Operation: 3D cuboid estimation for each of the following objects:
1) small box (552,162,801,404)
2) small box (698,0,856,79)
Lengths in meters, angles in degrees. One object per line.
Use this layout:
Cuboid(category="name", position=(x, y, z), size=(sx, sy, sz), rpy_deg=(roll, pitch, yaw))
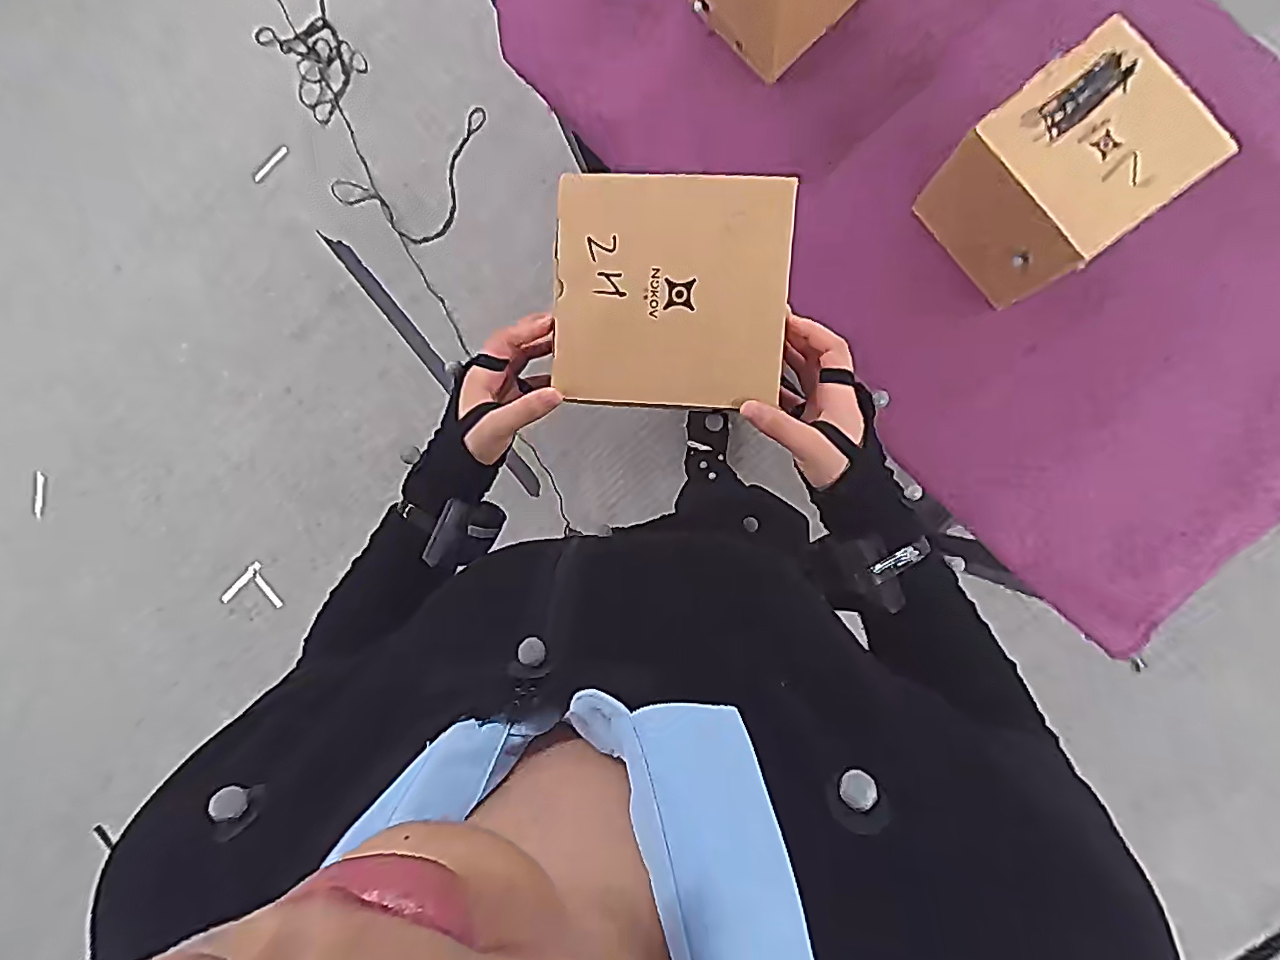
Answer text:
Cuboid(category="small box", position=(0.030, -0.155, 0.477), size=(0.179, 0.176, 0.168), rpy_deg=(4, 96, 5))
Cuboid(category="small box", position=(0.171, -0.641, 0.641), size=(0.179, 0.176, 0.168), rpy_deg=(-42, 86, 6))
